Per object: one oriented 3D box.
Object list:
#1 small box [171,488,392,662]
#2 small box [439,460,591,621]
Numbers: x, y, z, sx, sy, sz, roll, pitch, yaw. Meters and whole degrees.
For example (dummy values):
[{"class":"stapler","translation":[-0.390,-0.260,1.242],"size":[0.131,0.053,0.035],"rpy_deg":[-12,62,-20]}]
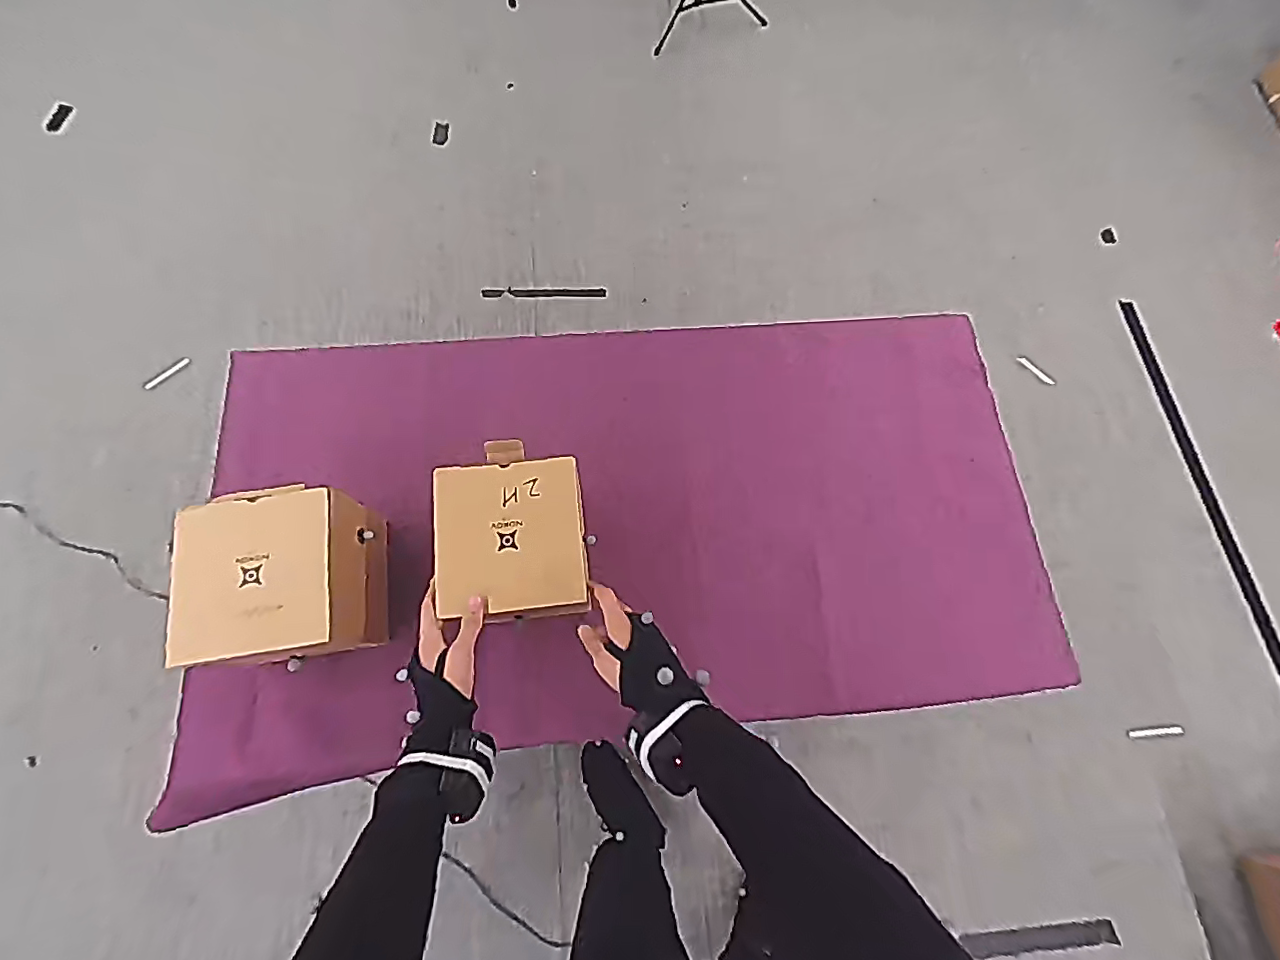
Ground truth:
[{"class":"small box","translation":[-0.423,0.125,0.671],"size":[0.168,0.176,0.179],"rpy_deg":[-7,72,-6]},{"class":"small box","translation":[-0.152,0.087,0.699],"size":[0.168,0.176,0.179],"rpy_deg":[-5,73,-5]}]
